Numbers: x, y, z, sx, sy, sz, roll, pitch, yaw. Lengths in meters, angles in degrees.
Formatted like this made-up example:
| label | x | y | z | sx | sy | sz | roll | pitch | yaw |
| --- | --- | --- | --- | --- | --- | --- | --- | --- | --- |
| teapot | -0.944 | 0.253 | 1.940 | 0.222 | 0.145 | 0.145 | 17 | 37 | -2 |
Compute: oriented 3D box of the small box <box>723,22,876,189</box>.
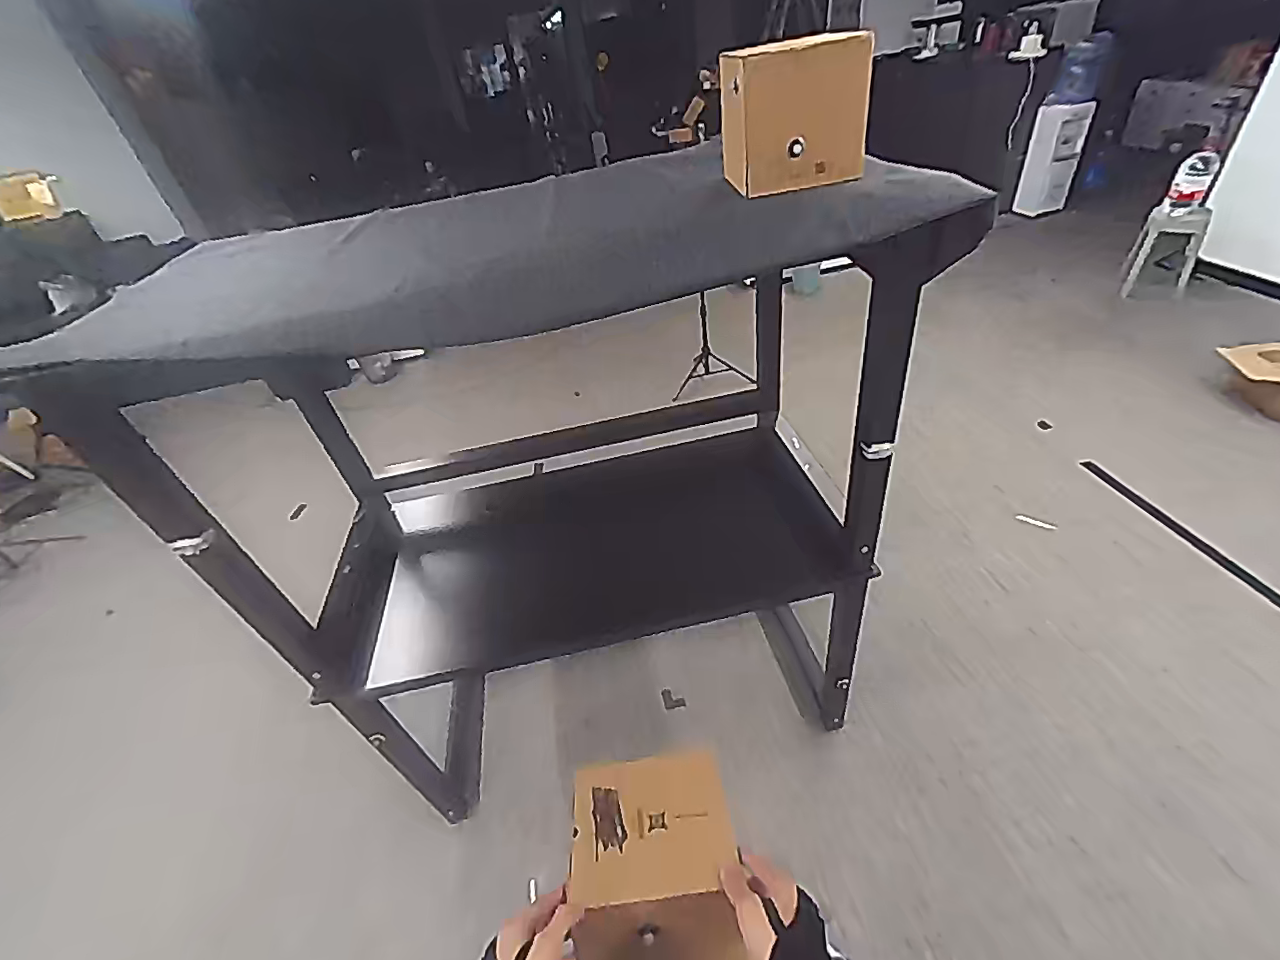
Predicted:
| label | x | y | z | sx | sy | sz | roll | pitch | yaw |
| --- | --- | --- | --- | --- | --- | --- | --- | --- | --- |
| small box | 0.216 | -0.536 | 0.781 | 0.168 | 0.176 | 0.179 | -9 | 39 | 2 |
